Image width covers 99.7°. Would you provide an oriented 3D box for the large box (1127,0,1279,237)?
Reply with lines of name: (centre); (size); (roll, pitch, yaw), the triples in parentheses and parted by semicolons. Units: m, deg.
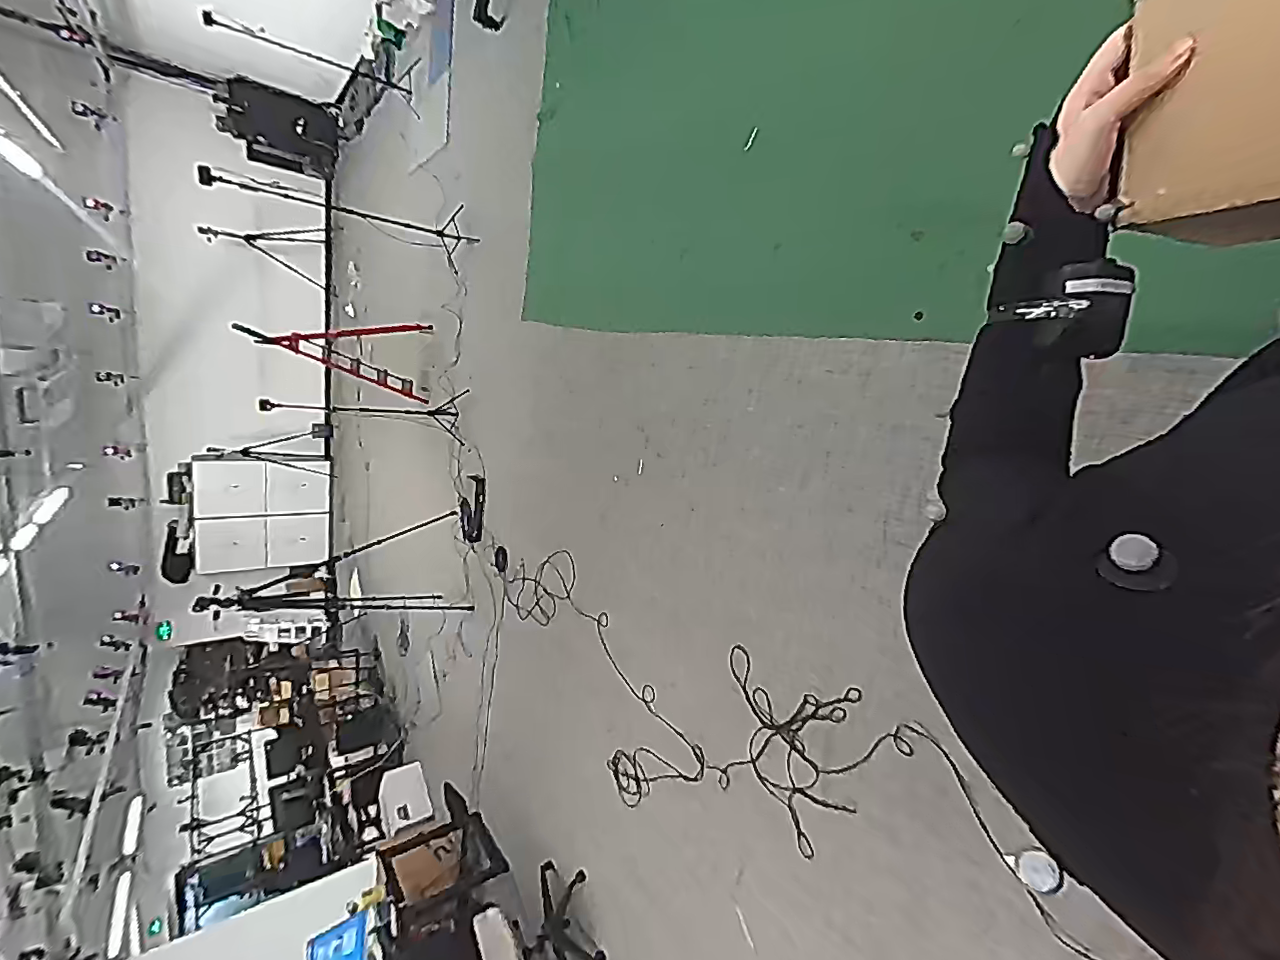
large box: (0.592, -0.349, 0.299); (0.408, 0.320, 0.320); (13, 111, 55)
